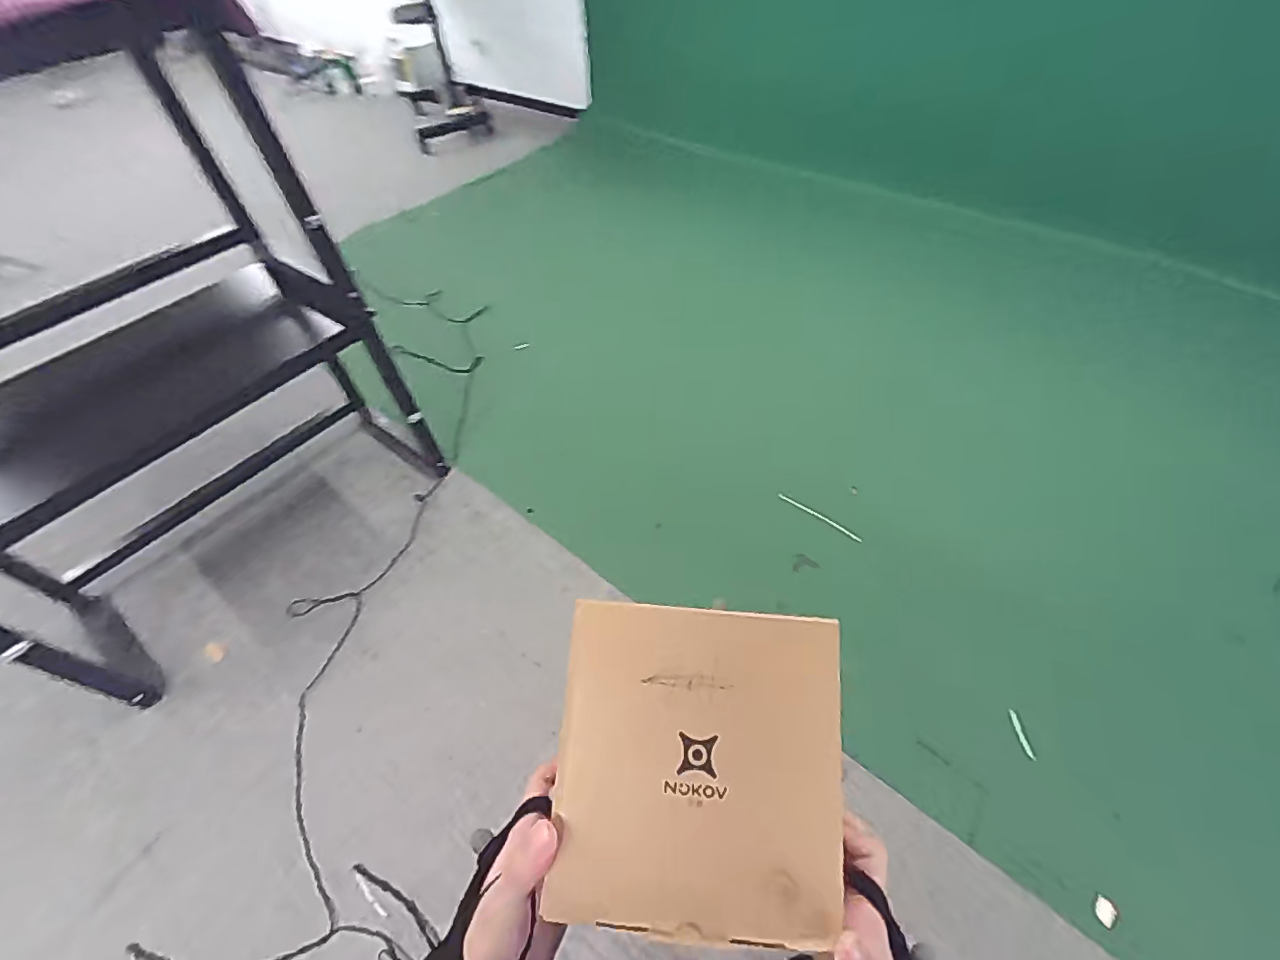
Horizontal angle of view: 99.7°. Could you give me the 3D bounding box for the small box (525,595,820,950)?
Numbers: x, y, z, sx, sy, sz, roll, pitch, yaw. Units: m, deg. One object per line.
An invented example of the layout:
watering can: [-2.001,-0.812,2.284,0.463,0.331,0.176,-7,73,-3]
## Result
small box: [0.028,0.187,0.396,0.168,0.176,0.179,4,72,4]
